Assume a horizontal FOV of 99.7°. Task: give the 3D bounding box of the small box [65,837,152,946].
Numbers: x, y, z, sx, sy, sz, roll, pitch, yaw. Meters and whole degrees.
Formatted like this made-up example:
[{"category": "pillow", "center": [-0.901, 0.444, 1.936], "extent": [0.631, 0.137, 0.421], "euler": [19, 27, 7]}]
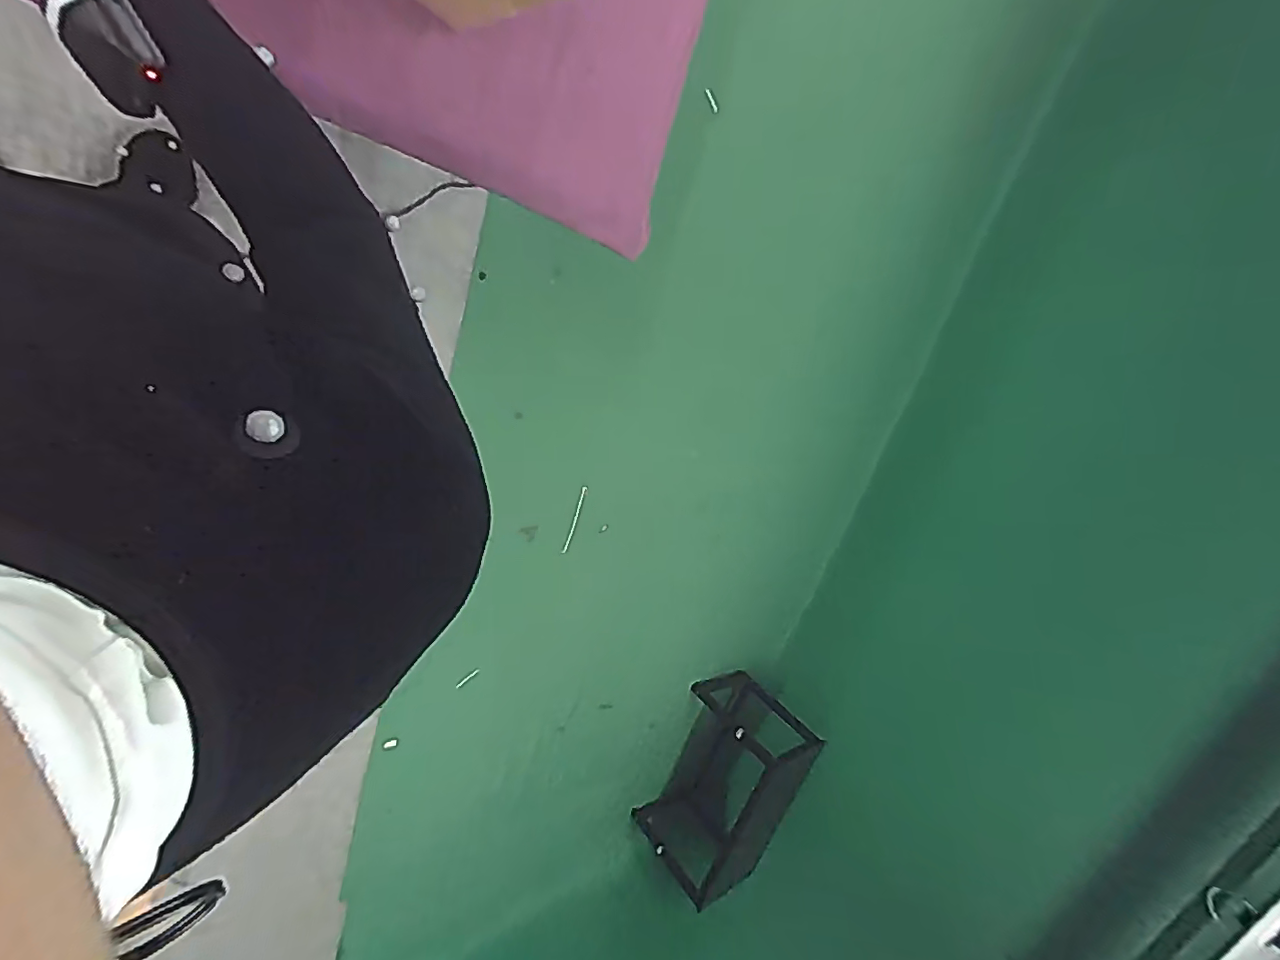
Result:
[{"category": "small box", "center": [-1.620, 1.249, 1.654], "extent": [0.179, 0.176, 0.168], "euler": [5, 113, -44]}]
